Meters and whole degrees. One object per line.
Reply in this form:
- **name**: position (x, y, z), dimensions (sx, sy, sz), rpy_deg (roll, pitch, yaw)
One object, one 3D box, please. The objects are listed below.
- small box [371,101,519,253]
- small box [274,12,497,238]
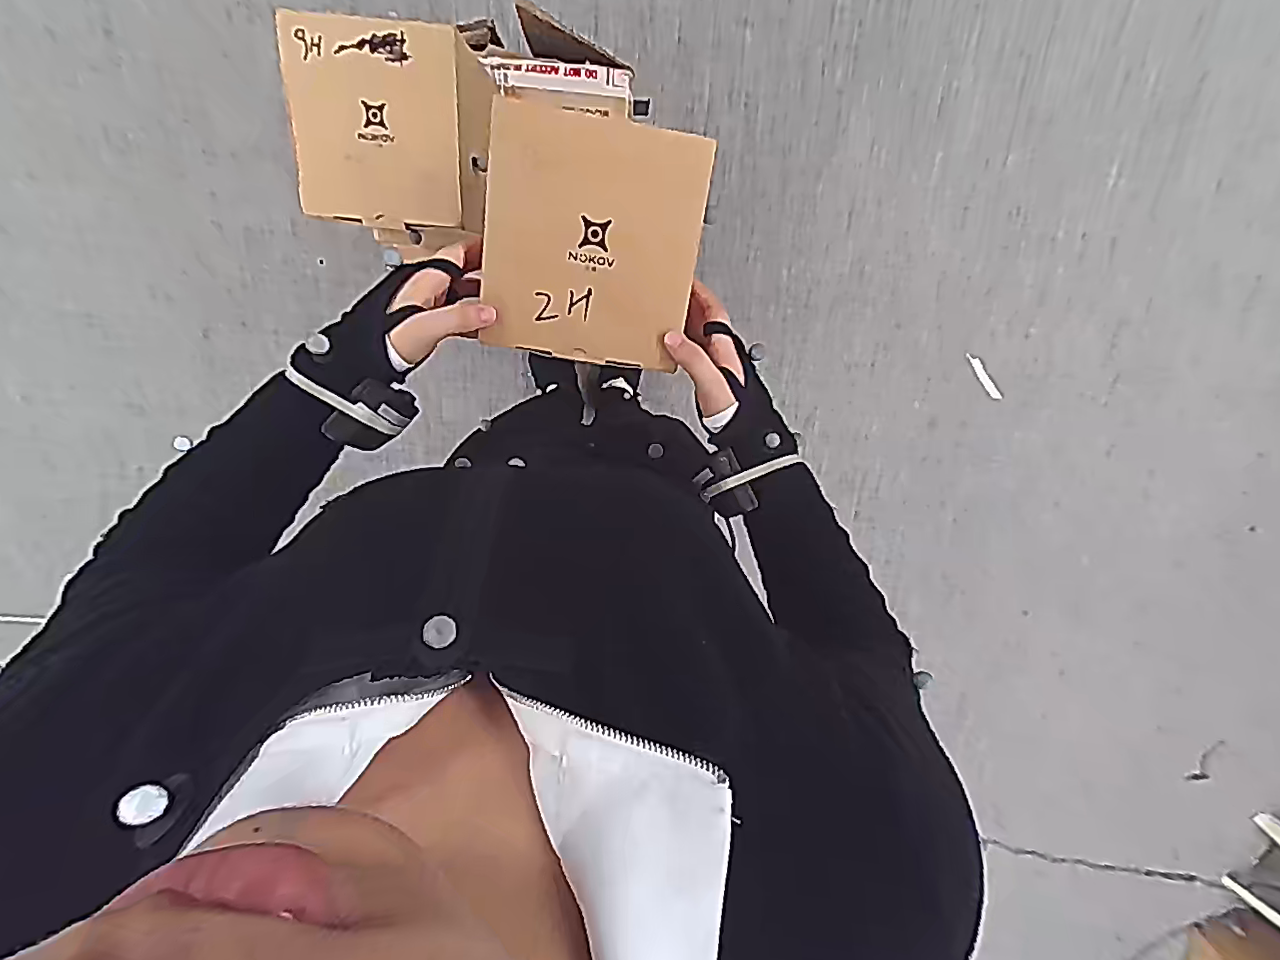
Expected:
- **small box**: position (-0.268, -0.418, 0.757), dimensions (0.168, 0.176, 0.179), rpy_deg (2, 112, -2)
- **small box**: position (-0.259, -0.370, 0.600), dimensions (0.168, 0.176, 0.179), rpy_deg (4, 112, -3)
